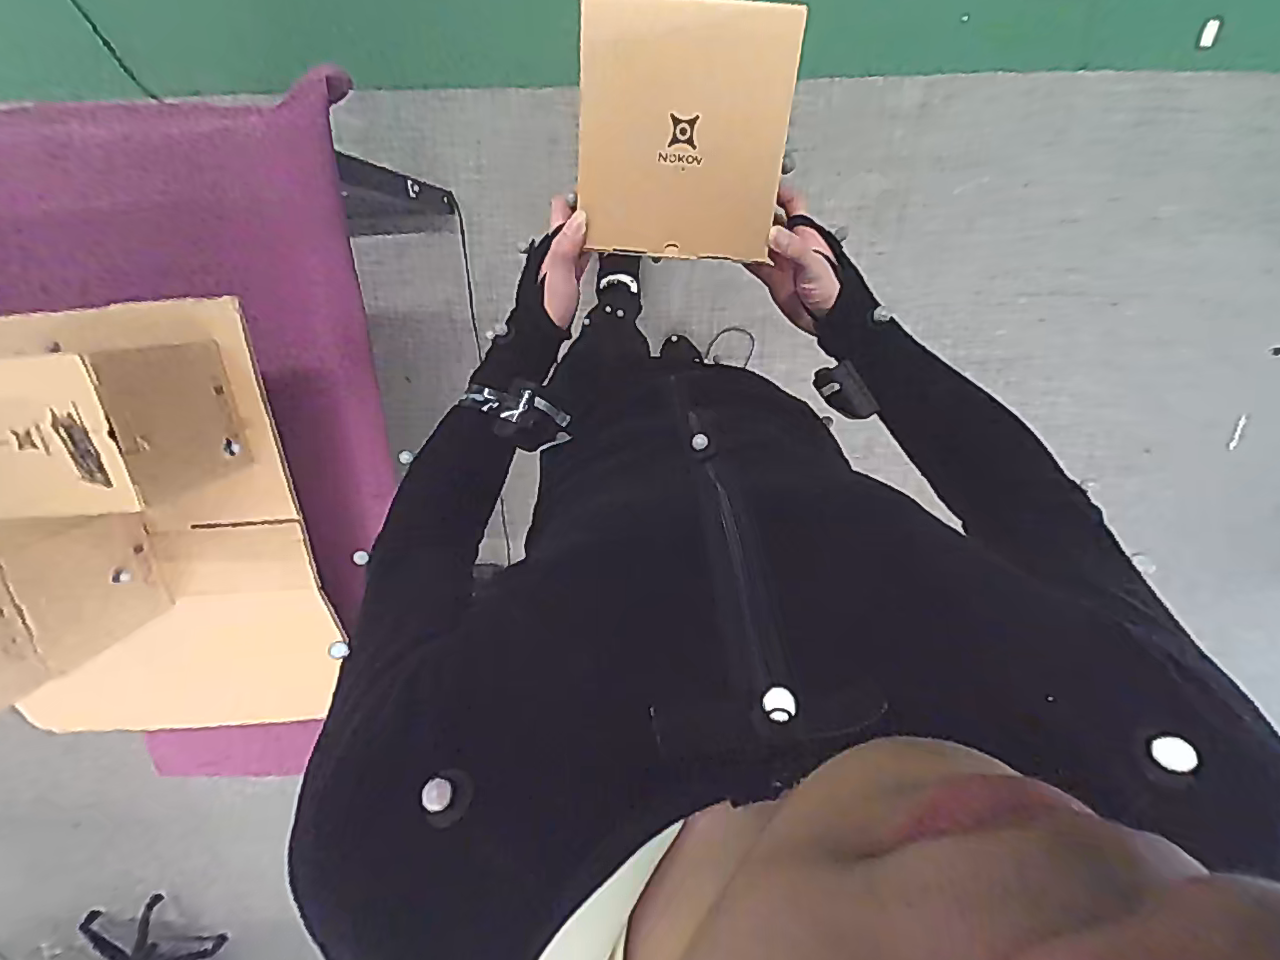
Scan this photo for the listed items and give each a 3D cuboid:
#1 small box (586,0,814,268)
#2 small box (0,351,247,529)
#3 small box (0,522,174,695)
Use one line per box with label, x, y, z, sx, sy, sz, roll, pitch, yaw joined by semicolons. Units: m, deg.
small box;0.042;-0.301;0.499;0.168;0.176;0.179;4;117;0
small box;-0.597;-0.054;0.621;0.179;0.176;0.168;-3;108;3
small box;-0.765;0.151;0.690;0.179;0.176;0.168;-3;108;2
